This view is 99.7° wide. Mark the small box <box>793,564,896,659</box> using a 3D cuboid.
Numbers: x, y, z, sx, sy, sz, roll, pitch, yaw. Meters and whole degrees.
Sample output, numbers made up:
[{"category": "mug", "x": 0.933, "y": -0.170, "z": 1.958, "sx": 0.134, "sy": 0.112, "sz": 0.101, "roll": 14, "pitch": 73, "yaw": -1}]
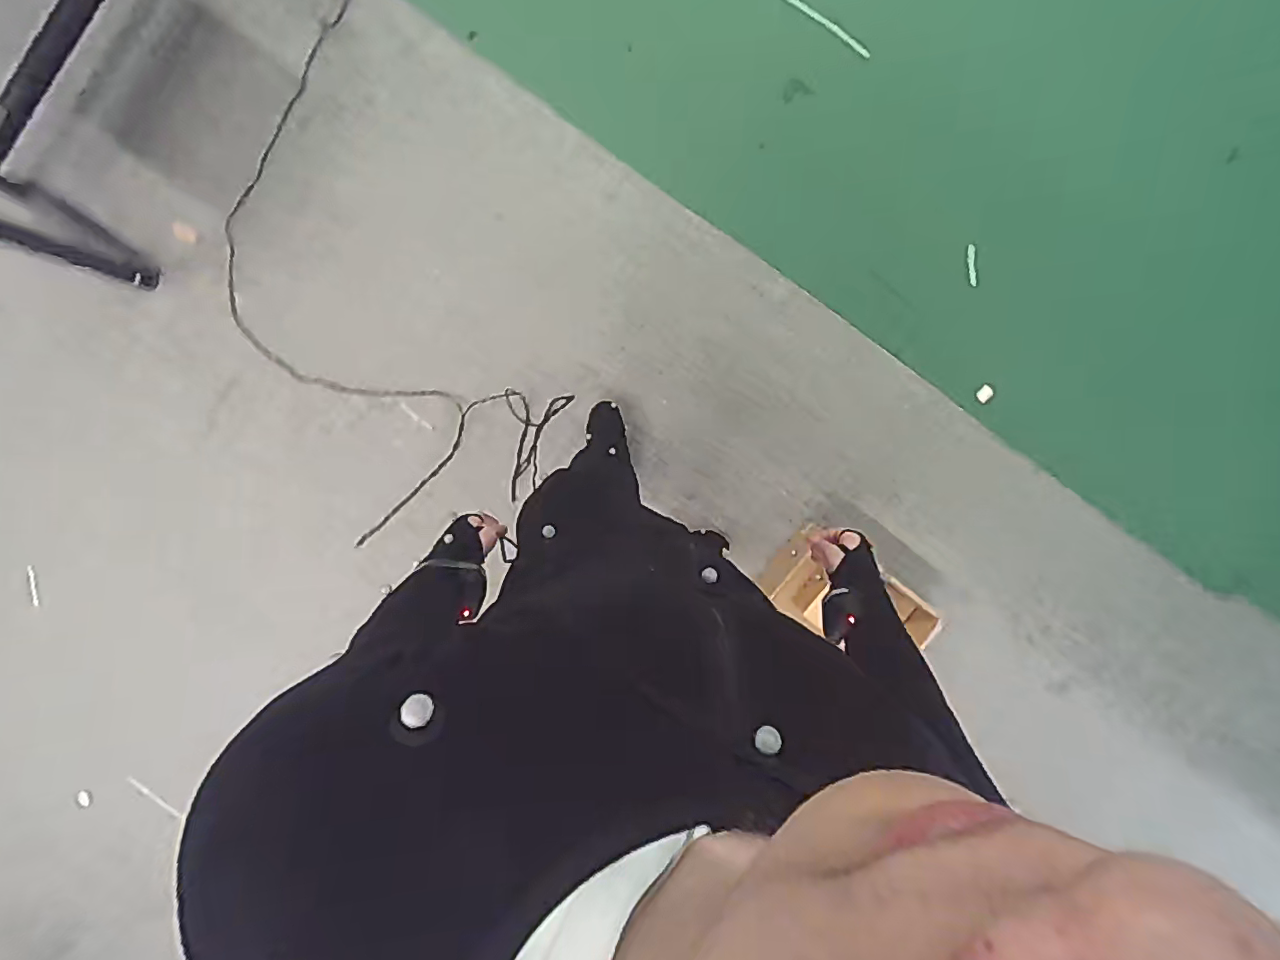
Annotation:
[{"category": "small box", "x": 0.546, "y": 0.347, "z": 1.474, "sx": 0.179, "sy": 0.176, "sz": 0.168, "roll": 39, "pitch": 93, "yaw": 1}]
